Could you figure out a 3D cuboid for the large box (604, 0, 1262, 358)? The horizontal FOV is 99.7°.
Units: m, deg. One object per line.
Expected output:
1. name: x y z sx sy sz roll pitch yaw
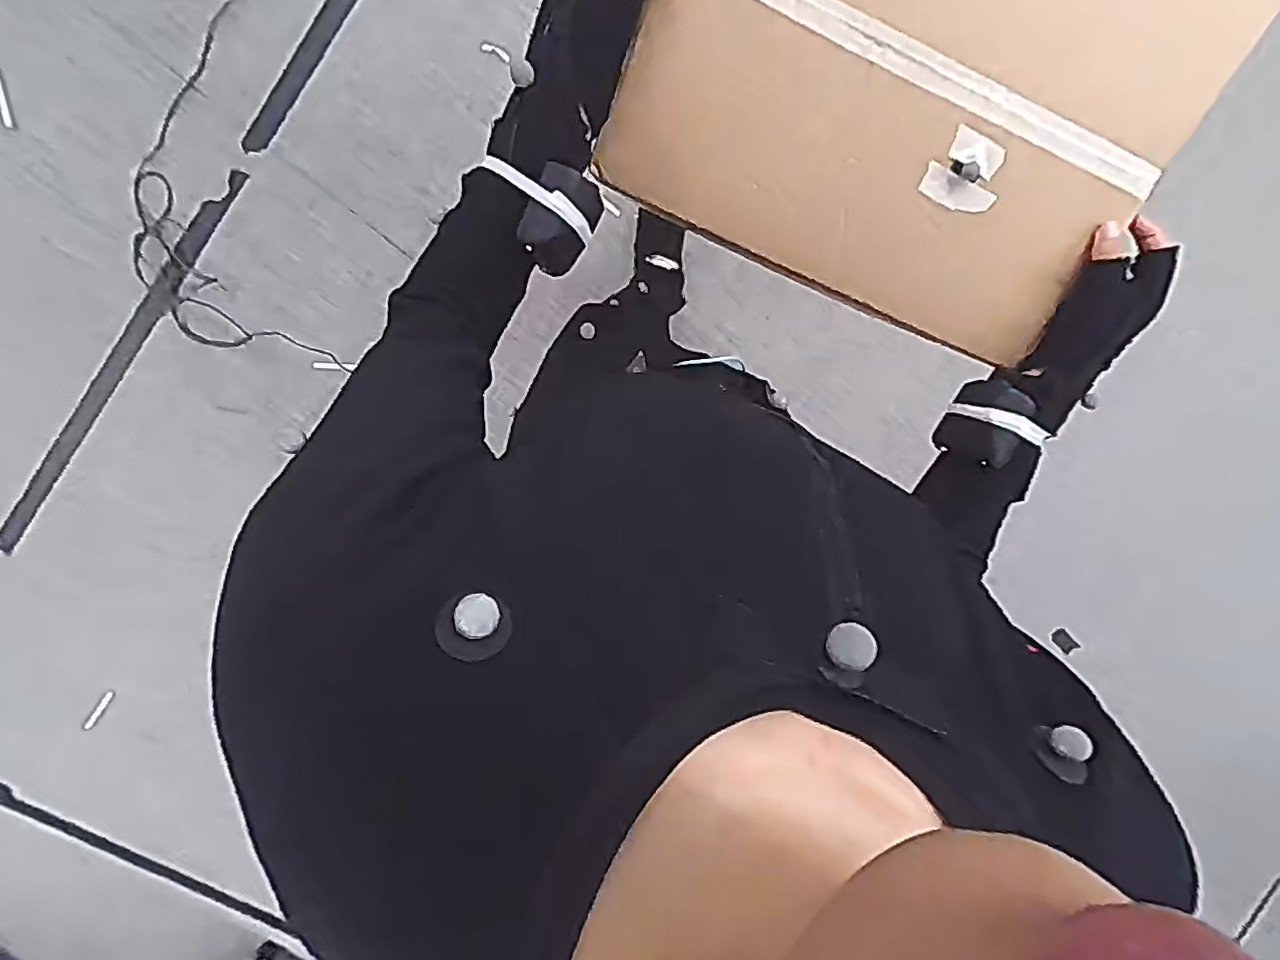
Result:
1. large box: 0.210 -0.368 0.539 0.408 0.320 0.320 22 115 -8
